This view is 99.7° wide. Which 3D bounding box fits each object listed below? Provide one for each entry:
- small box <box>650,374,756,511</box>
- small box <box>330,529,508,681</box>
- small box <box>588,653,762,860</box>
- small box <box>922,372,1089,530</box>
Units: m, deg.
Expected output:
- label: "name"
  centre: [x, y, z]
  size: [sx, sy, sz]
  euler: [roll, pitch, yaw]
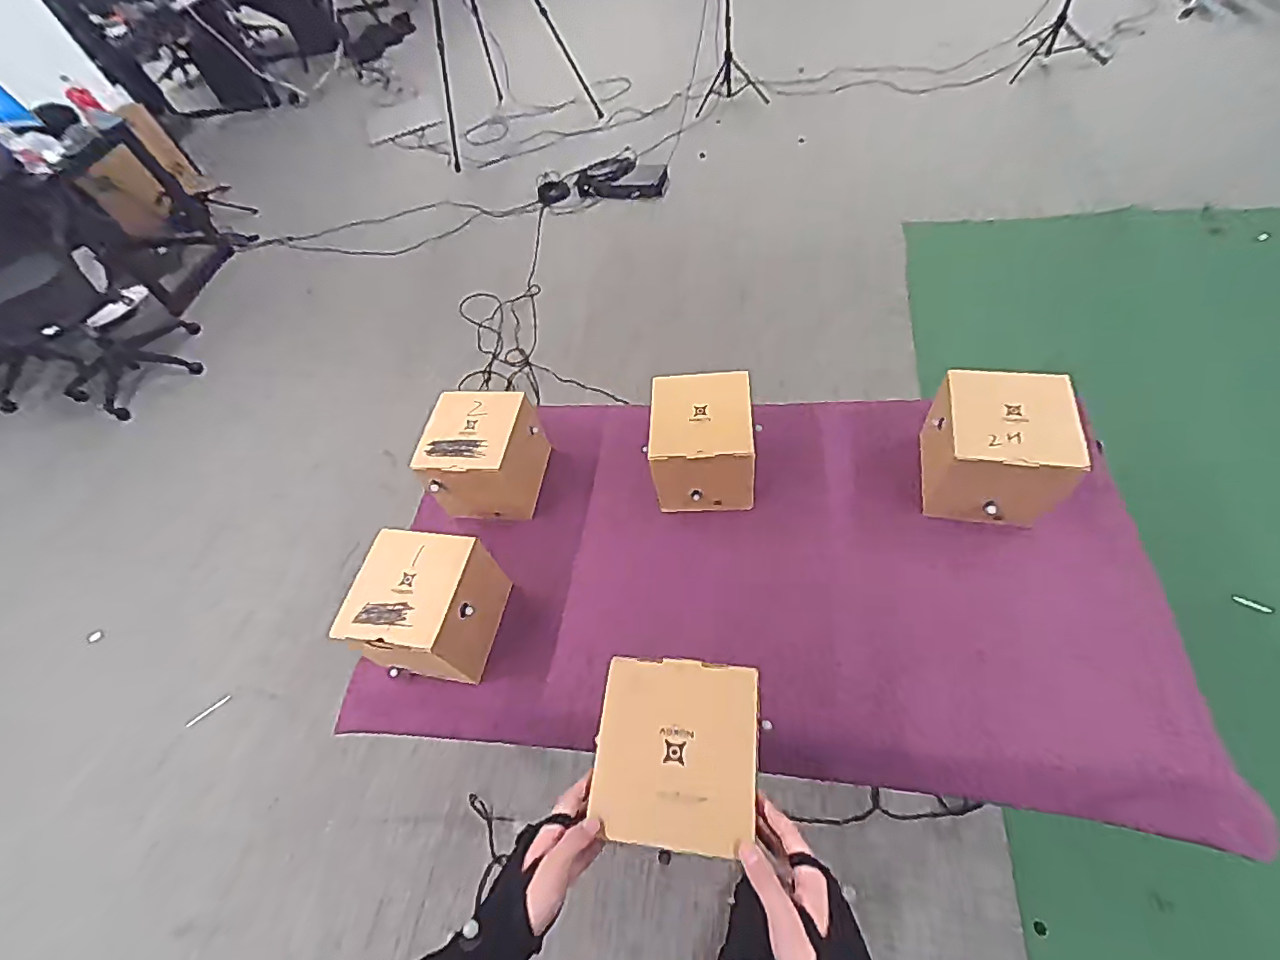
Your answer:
- label: "small box"
  centre: [0.112, -0.061, 0.943]
  size: [0.168, 0.176, 0.179]
  euler: [-2, 57, 8]
- label: "small box"
  centre: [-0.326, 0.198, 0.843]
  size: [0.168, 0.176, 0.179]
  euler: [4, 56, 12]
- label: "small box"
  centre: [0.053, 0.316, 0.619]
  size: [0.168, 0.176, 0.179]
  euler: [1, 57, 13]
- label: "small box"
  centre: [0.554, -0.044, 0.849]
  size: [0.168, 0.176, 0.179]
  euler: [7, 59, 15]
